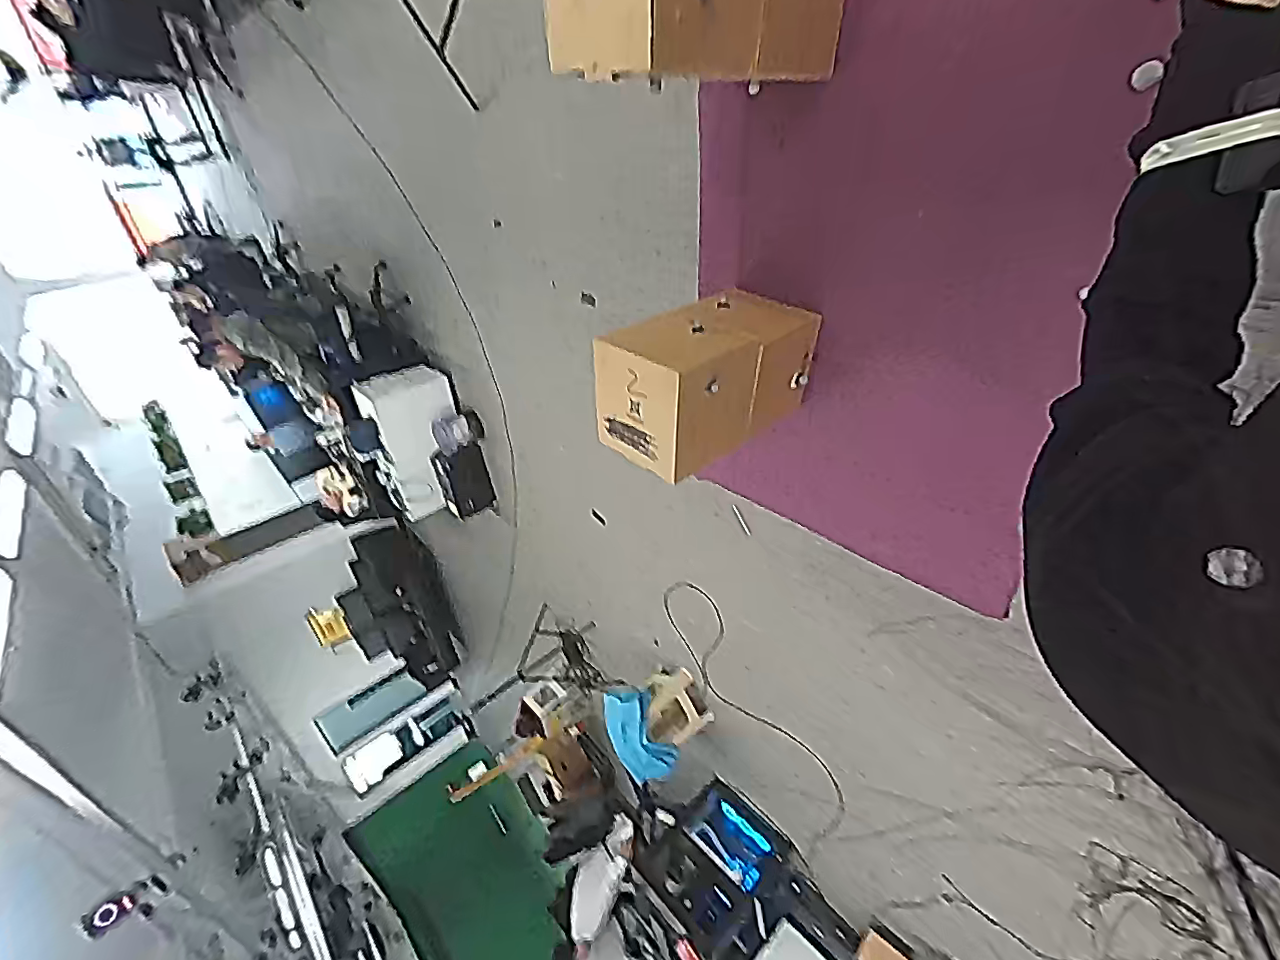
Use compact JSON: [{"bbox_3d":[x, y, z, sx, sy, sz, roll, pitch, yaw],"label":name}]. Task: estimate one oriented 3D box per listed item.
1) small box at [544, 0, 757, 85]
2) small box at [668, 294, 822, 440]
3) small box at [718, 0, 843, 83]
[{"bbox_3d":[0.014,-0.525,0.564,0.168,0.176,0.179,32,137,35],"label":"small box"},{"bbox_3d":[0.169,-0.195,0.895,0.179,0.176,0.168,32,137,34],"label":"small box"},{"bbox_3d":[0.134,-0.591,0.654,0.168,0.176,0.179,32,137,36],"label":"small box"}]
